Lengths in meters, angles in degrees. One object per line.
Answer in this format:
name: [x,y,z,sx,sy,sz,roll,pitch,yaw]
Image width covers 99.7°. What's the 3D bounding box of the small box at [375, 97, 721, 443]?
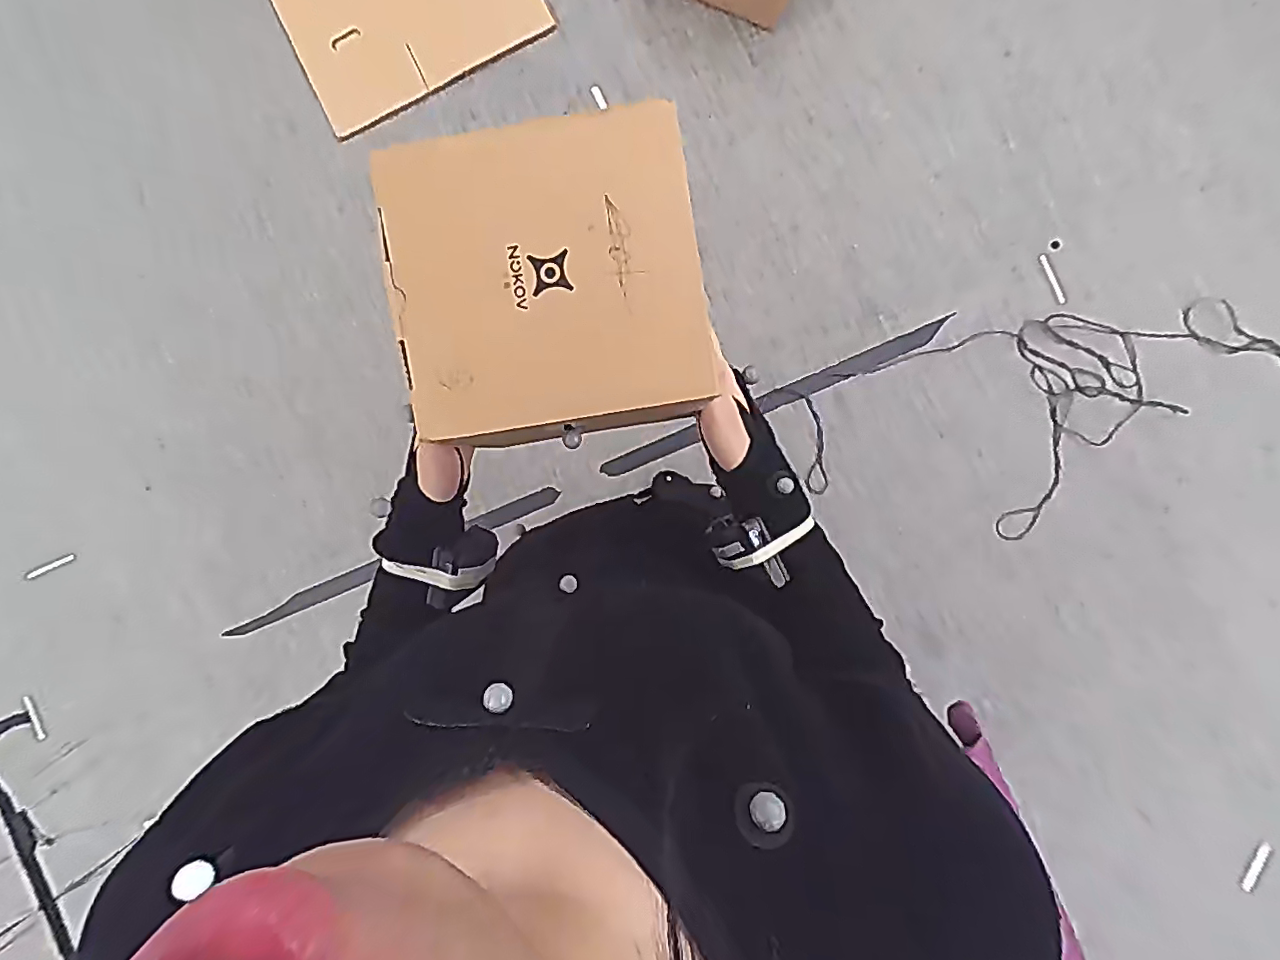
small box: [-0.049,-0.120,0.381,0.179,0.176,0.168,-10,93,1]
